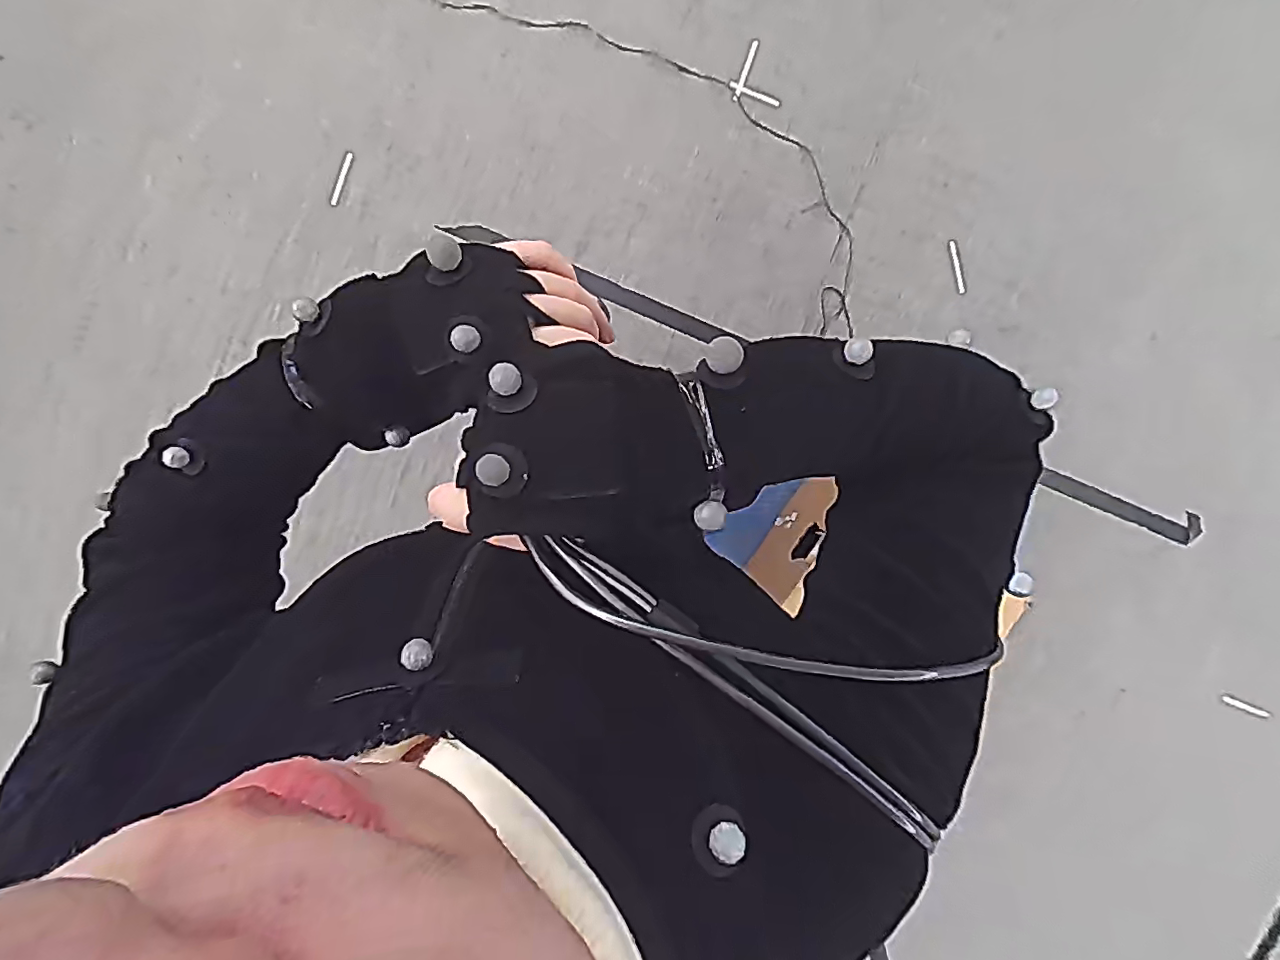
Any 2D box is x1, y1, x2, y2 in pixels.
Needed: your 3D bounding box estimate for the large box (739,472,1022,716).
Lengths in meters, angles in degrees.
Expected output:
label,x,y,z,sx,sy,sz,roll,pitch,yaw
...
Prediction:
label,x,y,z,sx,sy,sz,roll,pitch,yaw
large box,0.489,0.221,1.189,0.408,0.320,0.320,34,95,-5
